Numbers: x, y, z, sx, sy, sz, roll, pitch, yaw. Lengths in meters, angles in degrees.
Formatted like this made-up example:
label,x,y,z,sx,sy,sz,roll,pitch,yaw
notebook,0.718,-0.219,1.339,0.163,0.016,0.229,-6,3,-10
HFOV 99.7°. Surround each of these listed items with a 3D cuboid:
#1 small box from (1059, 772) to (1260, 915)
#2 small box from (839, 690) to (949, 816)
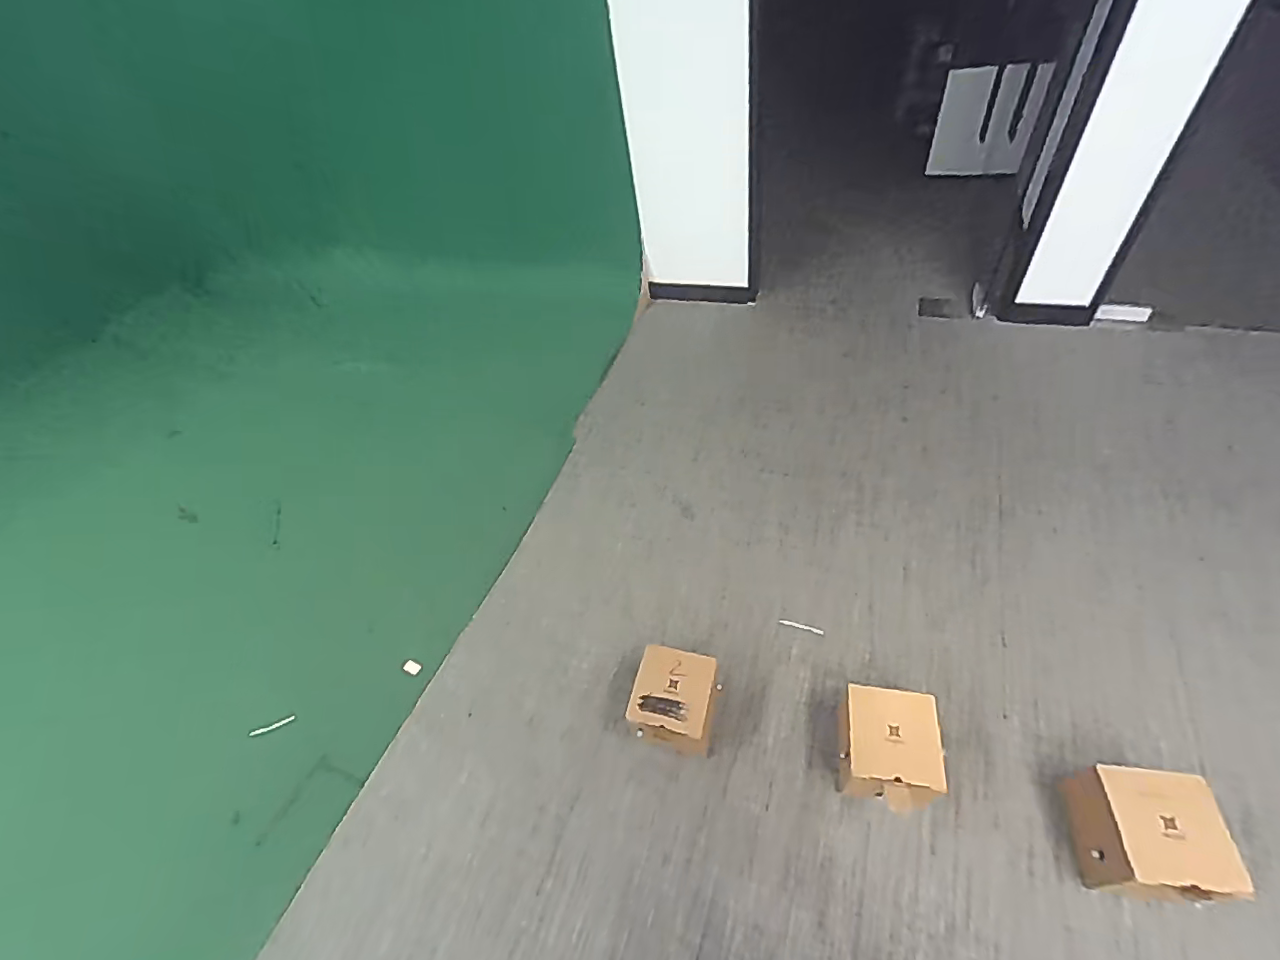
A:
label,x,y,z,sx,sy,sz,roll,pitch,yaw
small box,0.886,0.638,0.947,0.168,0.176,0.179,2,48,11
small box,0.501,0.554,1.096,0.168,0.176,0.179,3,50,14
